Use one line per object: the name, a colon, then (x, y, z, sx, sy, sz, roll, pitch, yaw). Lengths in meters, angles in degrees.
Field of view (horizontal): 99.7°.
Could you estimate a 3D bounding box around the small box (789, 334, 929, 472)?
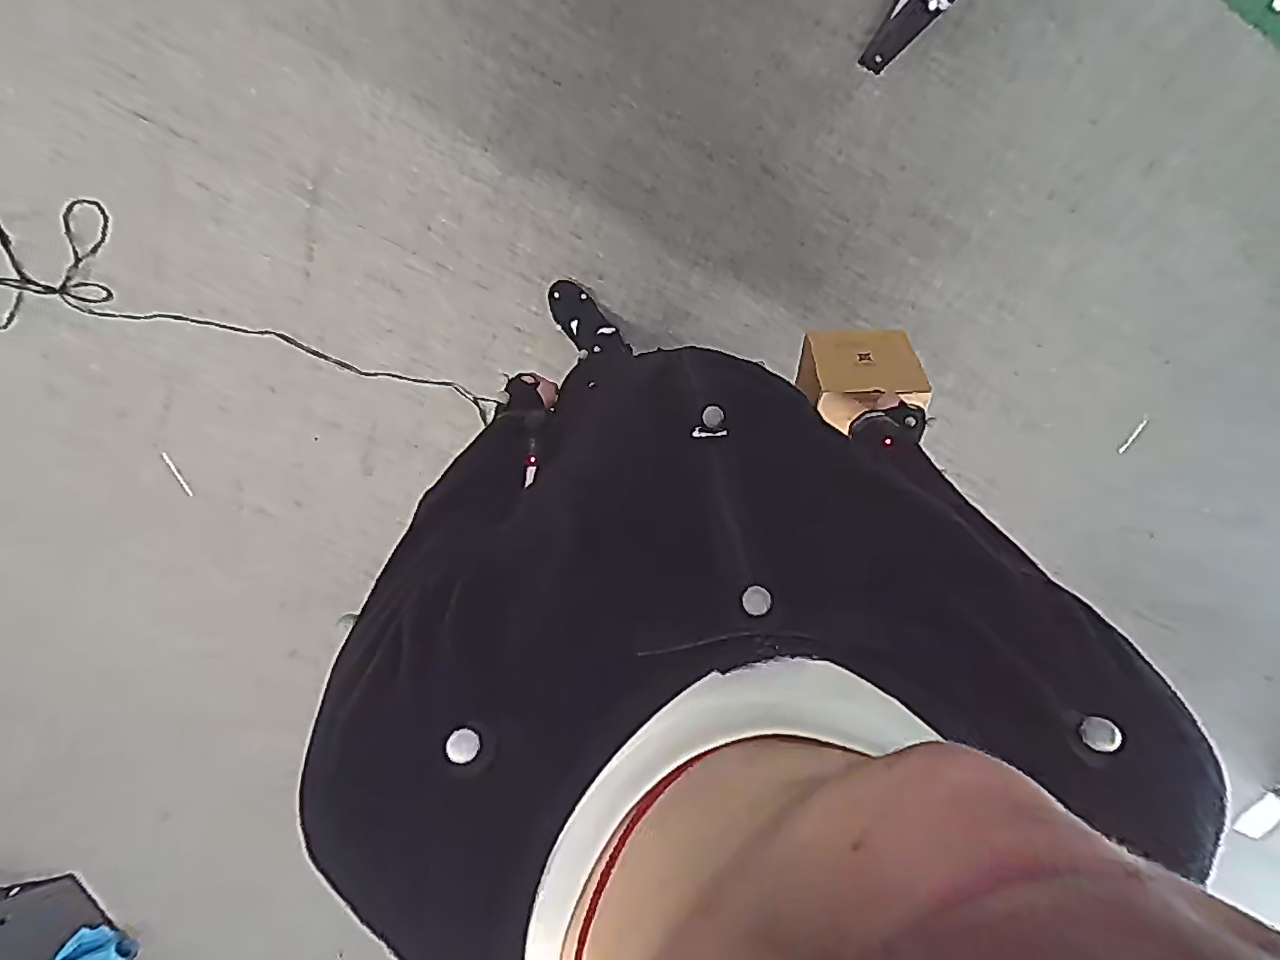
small box: (0.355, -0.129, 0.915, 0.168, 0.179, 0.176, 1, 136, 4)
